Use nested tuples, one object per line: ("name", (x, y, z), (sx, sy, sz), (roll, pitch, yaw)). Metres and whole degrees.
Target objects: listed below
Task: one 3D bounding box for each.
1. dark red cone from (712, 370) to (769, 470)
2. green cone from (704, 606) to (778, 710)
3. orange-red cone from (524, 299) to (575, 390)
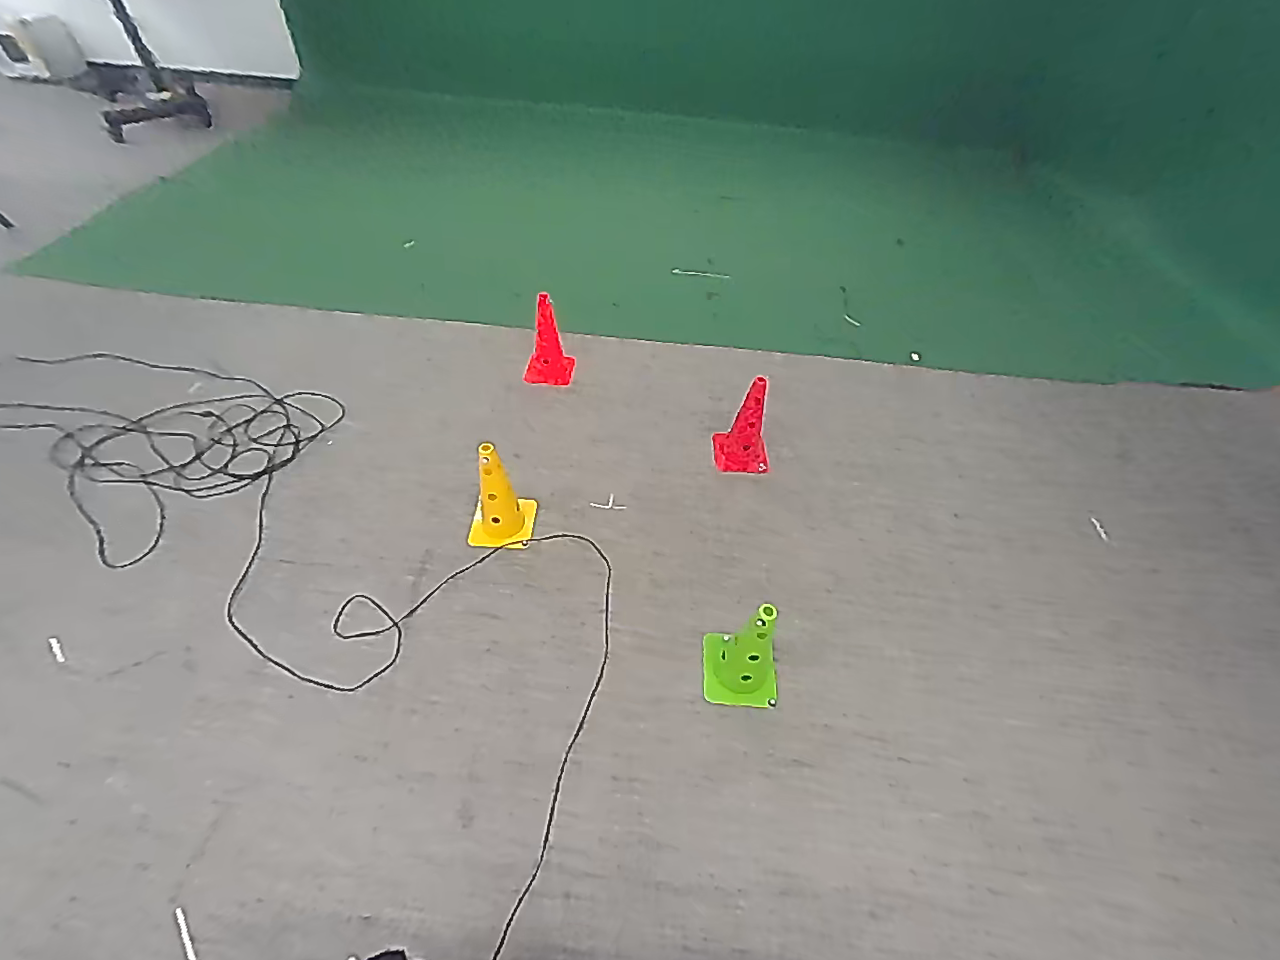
("dark red cone", (0.388, -0.221, 1.926), (0.202, 0.394, 0.201), (1, 47, -3))
("green cone", (0.286, 0.424, 1.386), (0.202, 0.368, 0.200), (3, 48, 1))
("orange-red cone", (-0.384, -0.569, 2.209), (0.198, 0.360, 0.199), (5, 50, 2))
